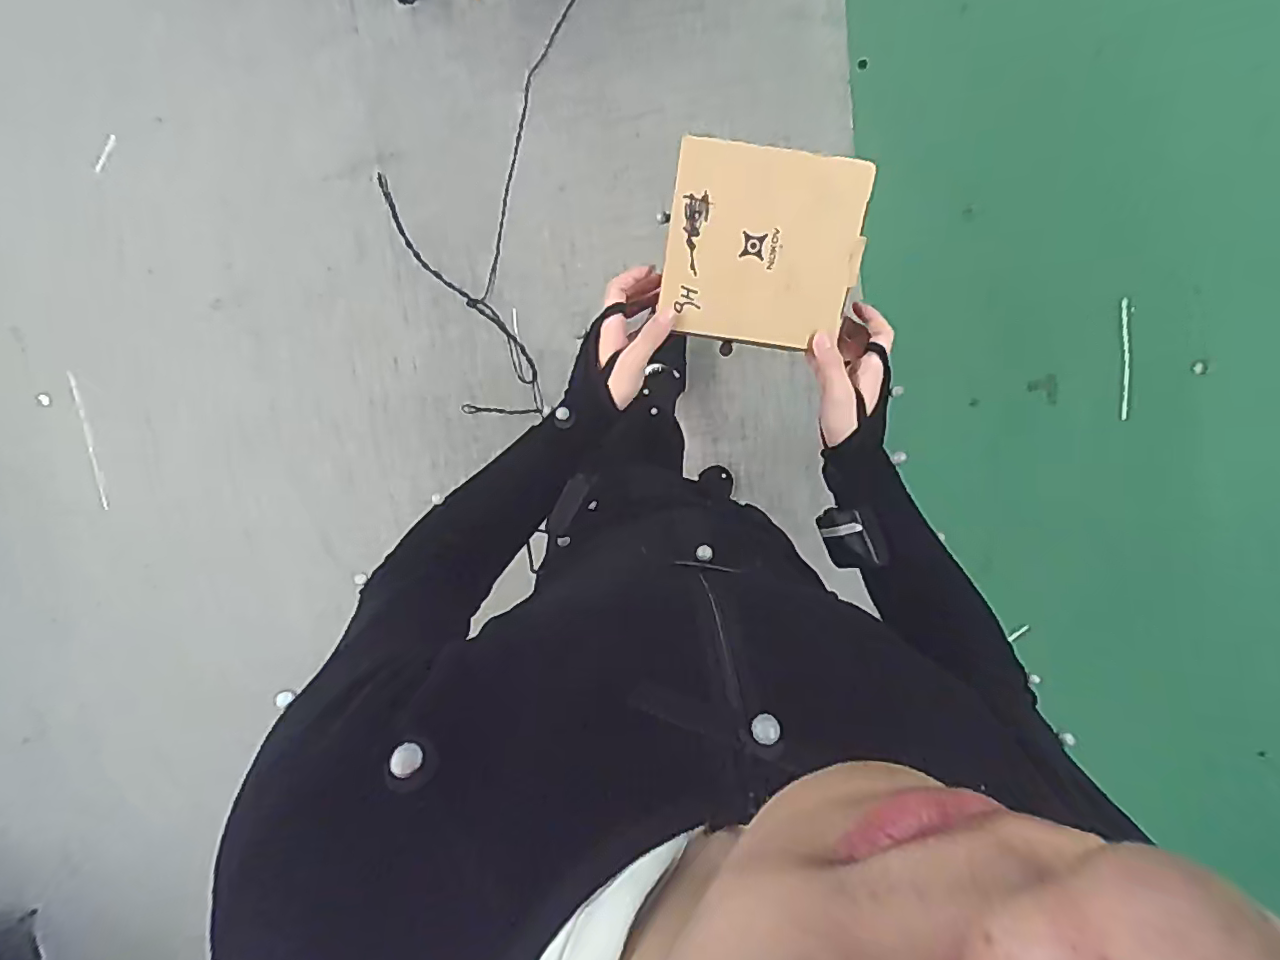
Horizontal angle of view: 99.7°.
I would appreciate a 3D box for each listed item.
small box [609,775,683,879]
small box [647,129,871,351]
[{"bbox_3d":[0.020,0.905,1.424,0.168,0.176,0.179,-7,96,9],"label":"small box"},{"bbox_3d":[0.106,-0.232,0.565,0.179,0.176,0.168,8,103,-1],"label":"small box"}]
